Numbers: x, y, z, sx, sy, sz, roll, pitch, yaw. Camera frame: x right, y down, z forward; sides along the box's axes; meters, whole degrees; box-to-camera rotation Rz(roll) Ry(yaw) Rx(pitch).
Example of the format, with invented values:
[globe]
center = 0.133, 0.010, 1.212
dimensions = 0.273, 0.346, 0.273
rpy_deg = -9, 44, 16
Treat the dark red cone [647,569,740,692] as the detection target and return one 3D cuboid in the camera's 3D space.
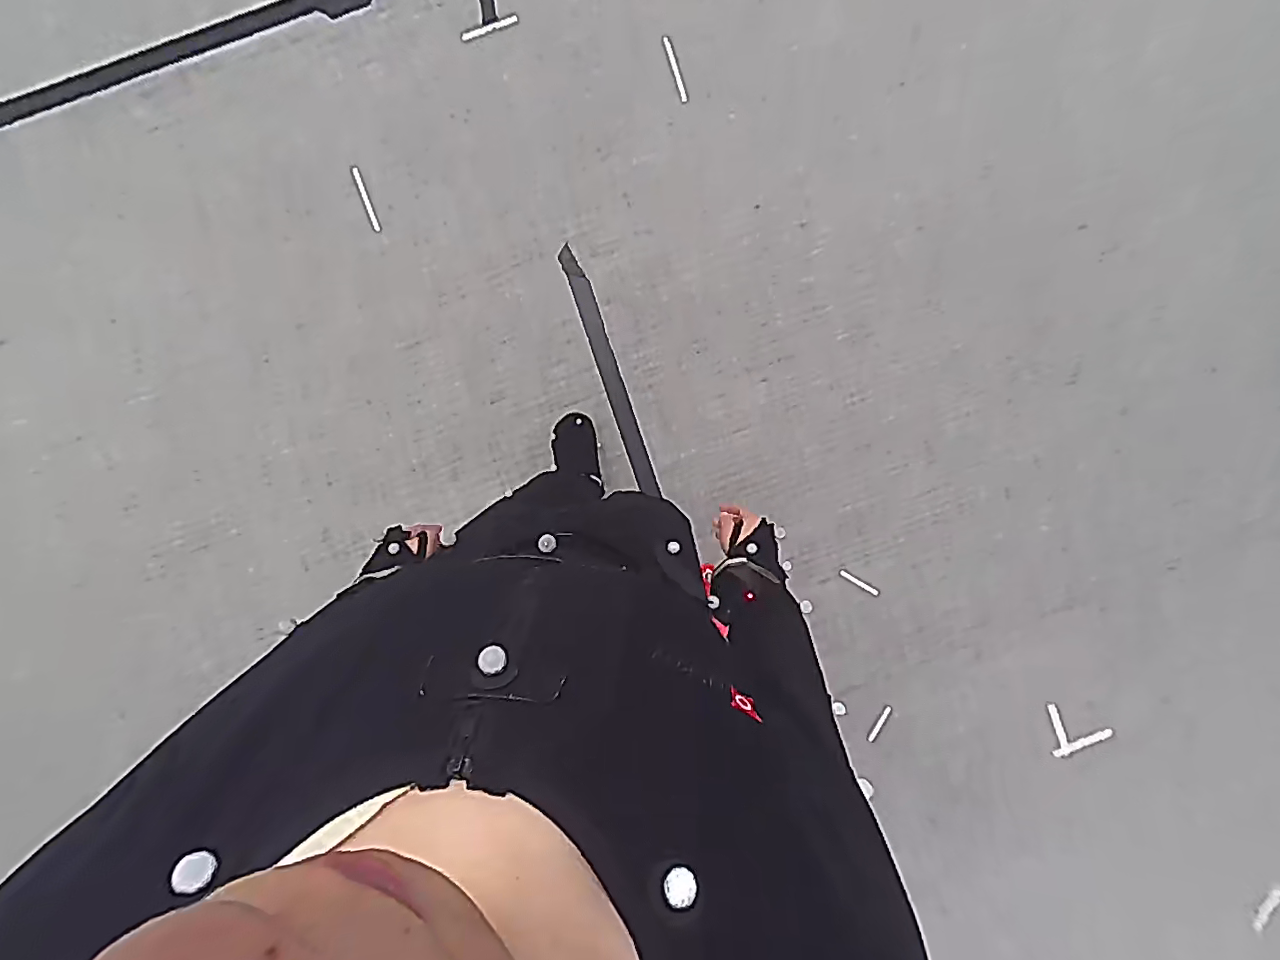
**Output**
[dark red cone]
center = 0.142, 0.359, 1.211
dimensions = 0.201, 0.394, 0.202
rpy_deg = -20, 96, 0
